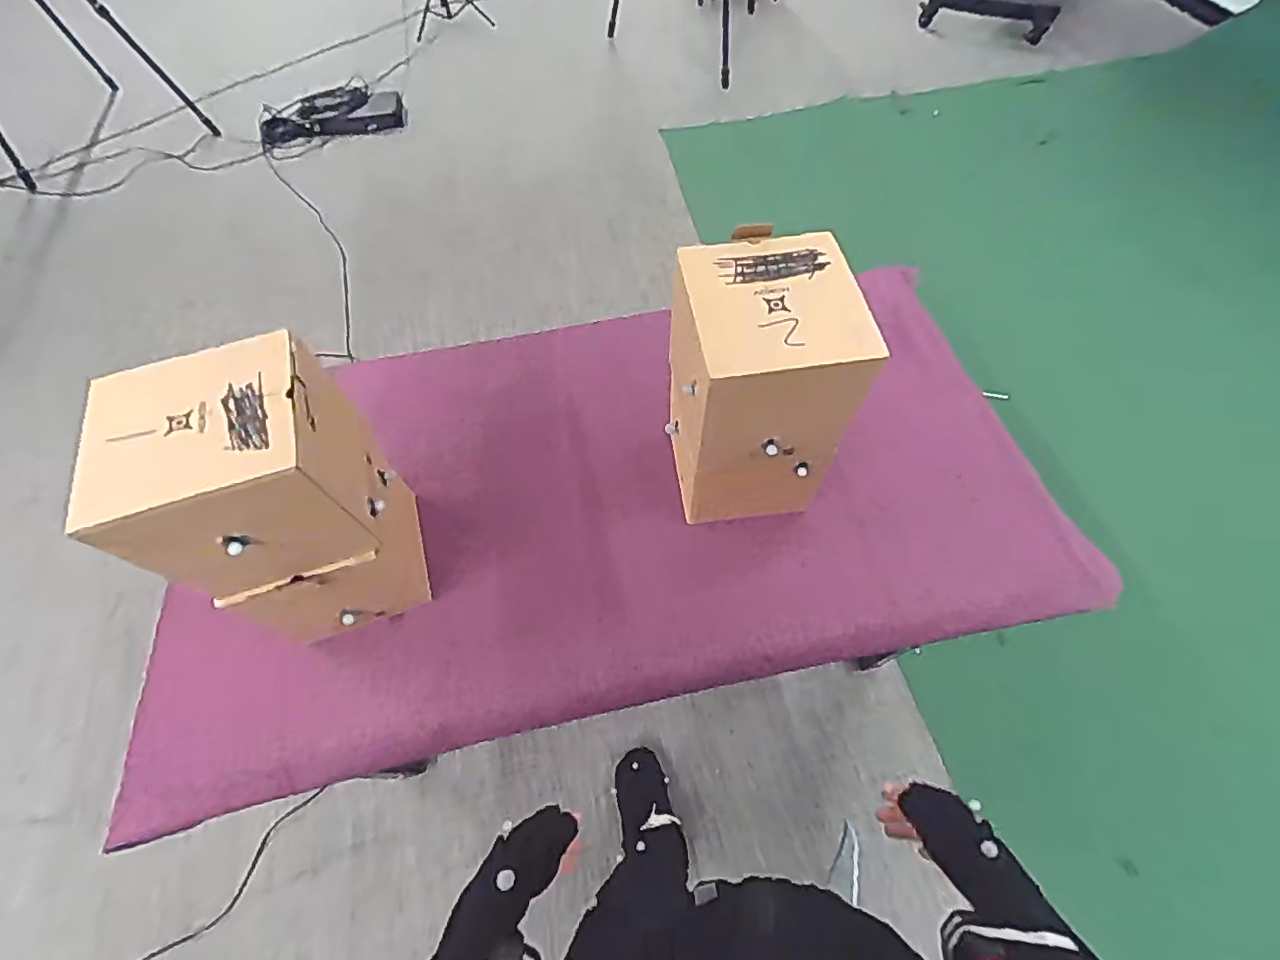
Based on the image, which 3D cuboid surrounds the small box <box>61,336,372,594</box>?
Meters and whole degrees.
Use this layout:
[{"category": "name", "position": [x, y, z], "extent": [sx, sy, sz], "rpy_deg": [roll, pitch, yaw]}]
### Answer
[{"category": "small box", "position": [-0.382, -0.009, 0.532], "extent": [0.179, 0.176, 0.168], "rpy_deg": [-16, 59, -7]}]

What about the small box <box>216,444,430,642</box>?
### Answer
[{"category": "small box", "position": [-0.381, 0.079, 0.675], "extent": [0.168, 0.176, 0.179], "rpy_deg": [-18, 62, -7]}]

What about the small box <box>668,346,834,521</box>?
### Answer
[{"category": "small box", "position": [0.135, -0.055, 0.732], "extent": [0.179, 0.176, 0.168], "rpy_deg": [-7, 61, -2]}]
